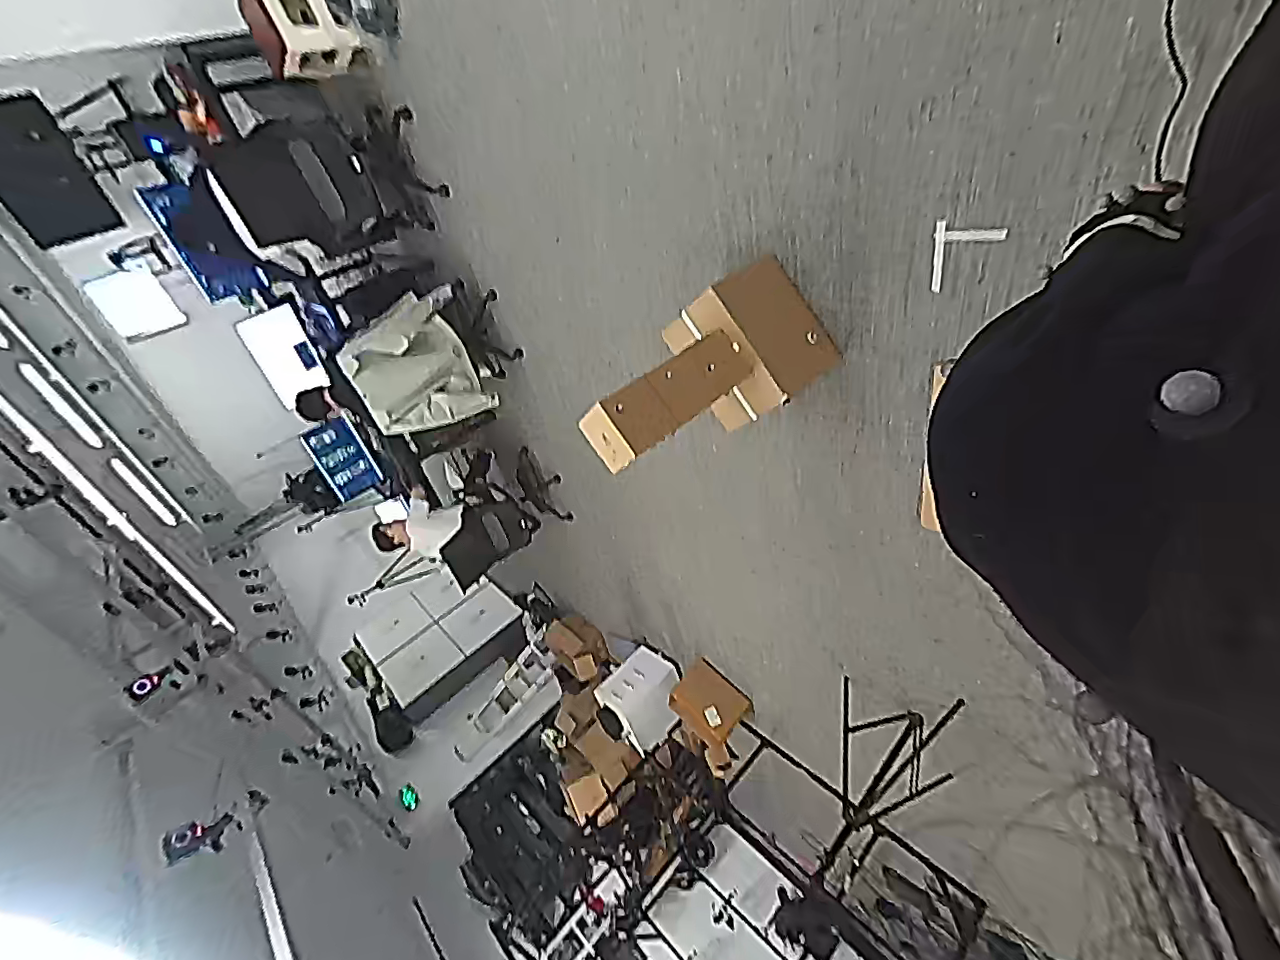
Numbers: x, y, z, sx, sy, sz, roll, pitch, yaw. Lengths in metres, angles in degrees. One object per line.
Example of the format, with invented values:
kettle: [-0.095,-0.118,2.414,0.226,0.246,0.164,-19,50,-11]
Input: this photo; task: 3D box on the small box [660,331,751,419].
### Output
small box: [0.201,-0.321,1.641,0.179,0.176,0.168,55,151,0]

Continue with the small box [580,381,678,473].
small box: [-0.030,-0.150,1.480,0.179,0.176,0.168,55,152,-1]
